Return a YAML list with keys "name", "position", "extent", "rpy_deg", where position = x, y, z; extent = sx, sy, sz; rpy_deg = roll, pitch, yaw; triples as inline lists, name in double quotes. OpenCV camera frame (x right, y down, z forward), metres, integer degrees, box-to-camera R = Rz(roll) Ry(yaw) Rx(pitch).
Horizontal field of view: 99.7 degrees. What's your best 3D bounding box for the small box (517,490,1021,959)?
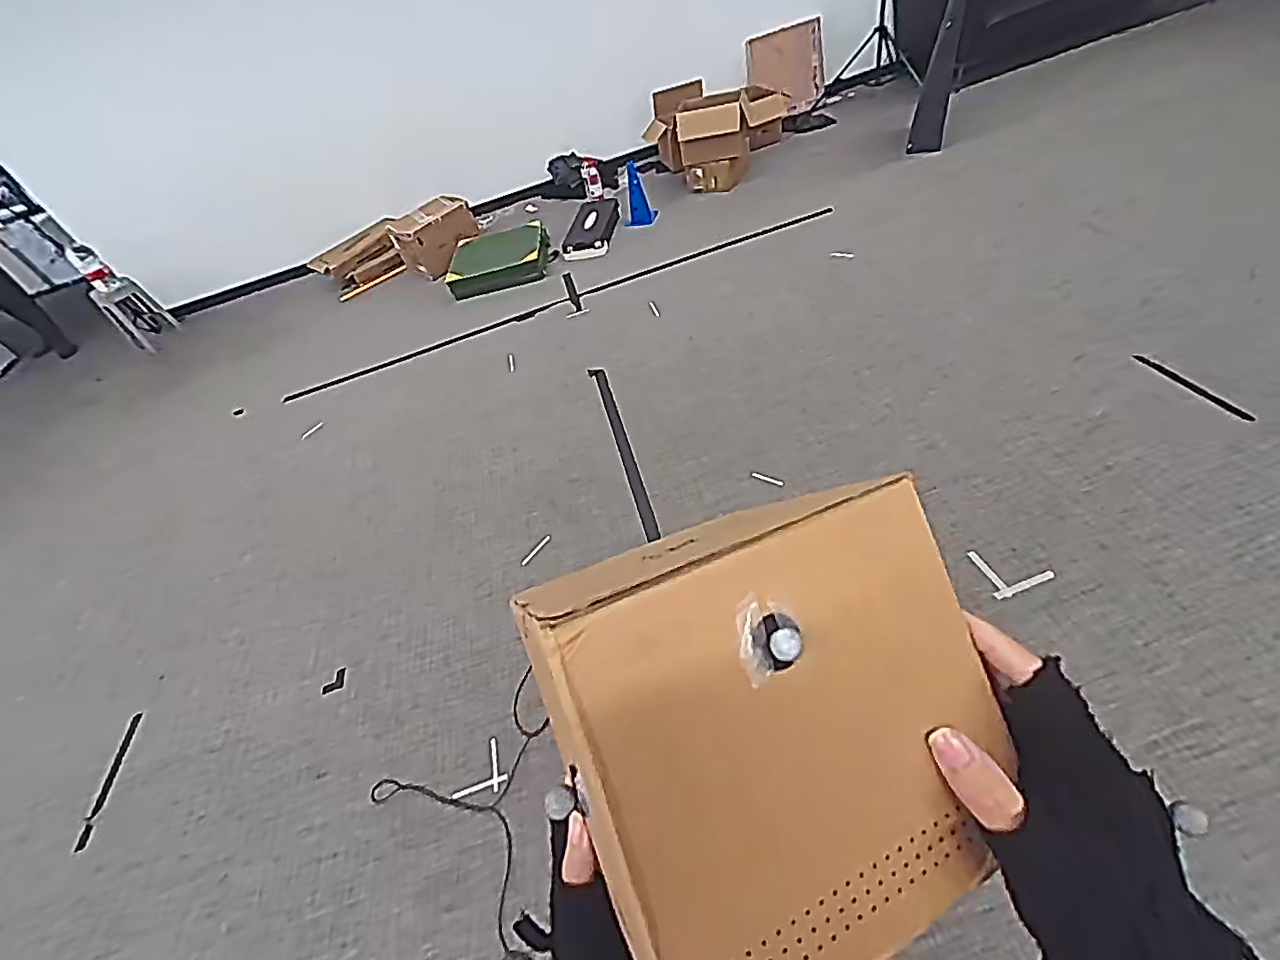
- name: "small box"
  position: [0.049, 0.121, 0.284]
  extent: [0.179, 0.168, 0.176]
  rpy_deg: [-19, 87, -18]
